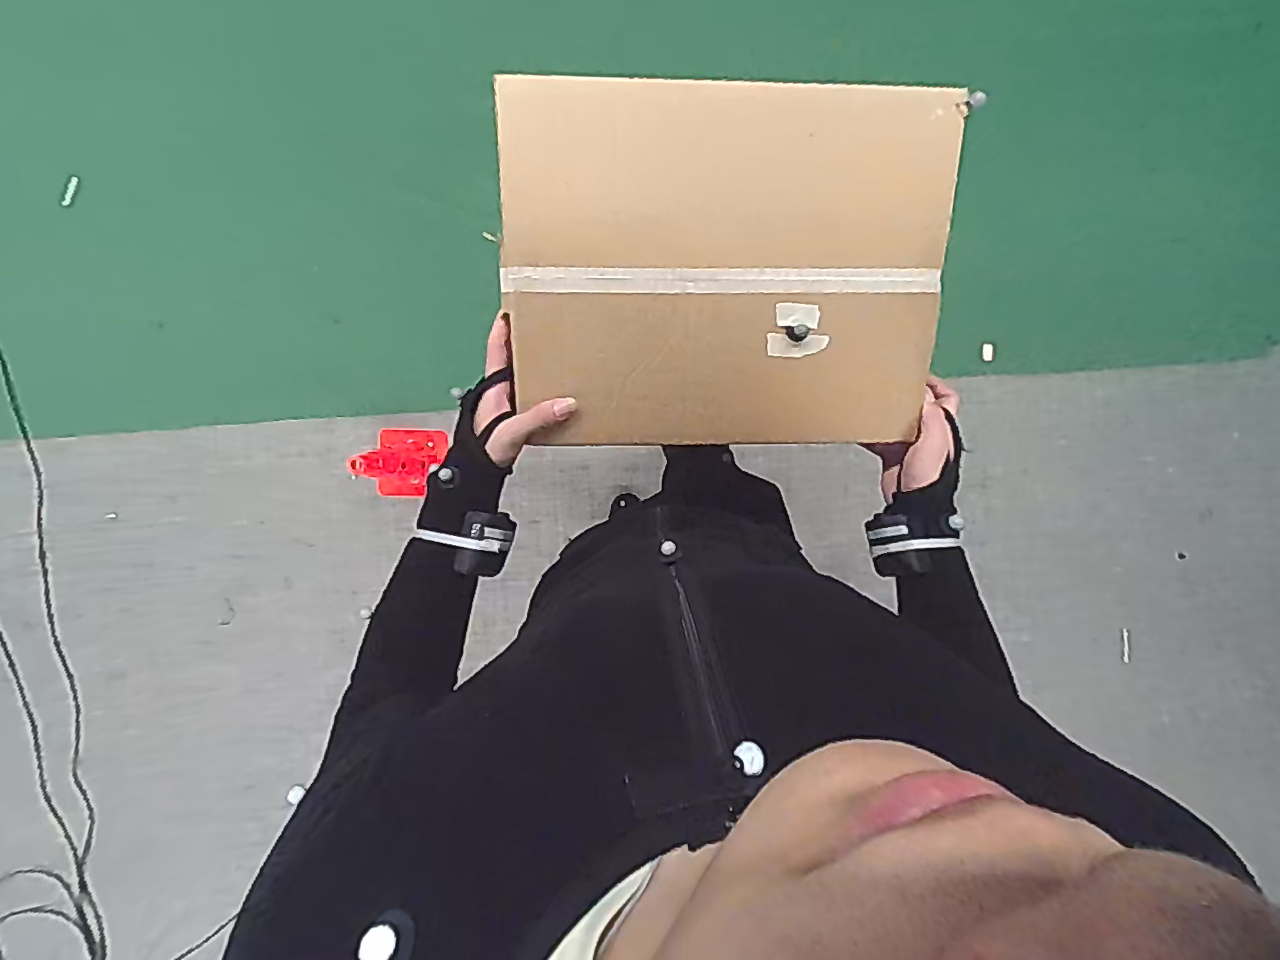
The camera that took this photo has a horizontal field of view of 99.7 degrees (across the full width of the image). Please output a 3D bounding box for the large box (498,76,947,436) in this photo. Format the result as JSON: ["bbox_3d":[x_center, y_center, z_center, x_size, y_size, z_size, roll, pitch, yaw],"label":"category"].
[{"bbox_3d":[0.067,-0.240,0.652,0.408,0.320,0.320,-1,107,-4],"label":"large box"}]

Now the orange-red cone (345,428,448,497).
[{"bbox_3d":[-0.664,-0.046,1.411,0.199,0.360,0.198,4,92,-1],"label":"orange-red cone"}]
